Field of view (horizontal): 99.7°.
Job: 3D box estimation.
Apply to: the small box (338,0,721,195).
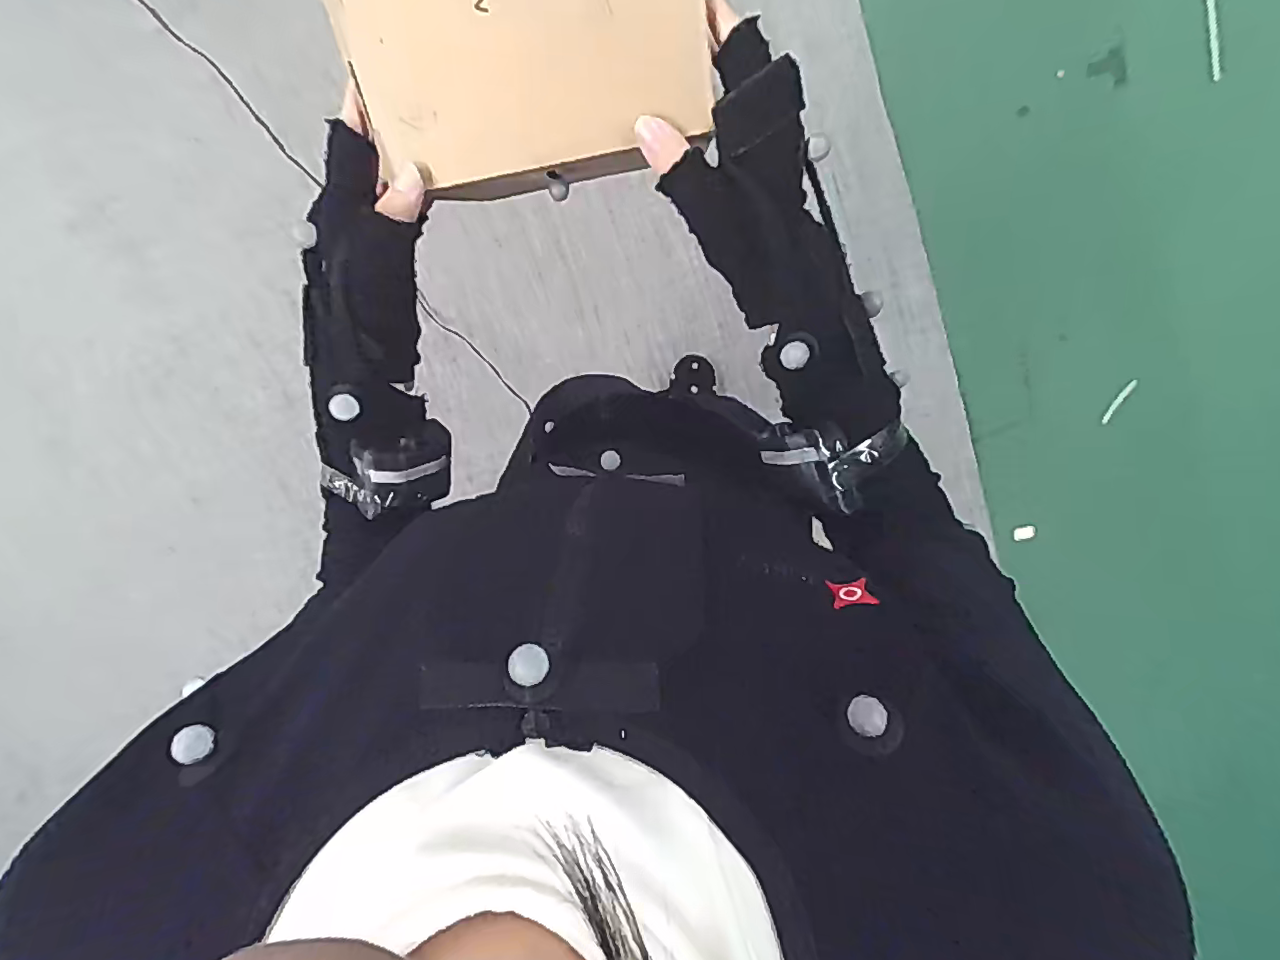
[{"bbox_3d":[-0.053,-0.272,0.316,0.179,0.176,0.168,-9,117,7],"label":"small box"}]
